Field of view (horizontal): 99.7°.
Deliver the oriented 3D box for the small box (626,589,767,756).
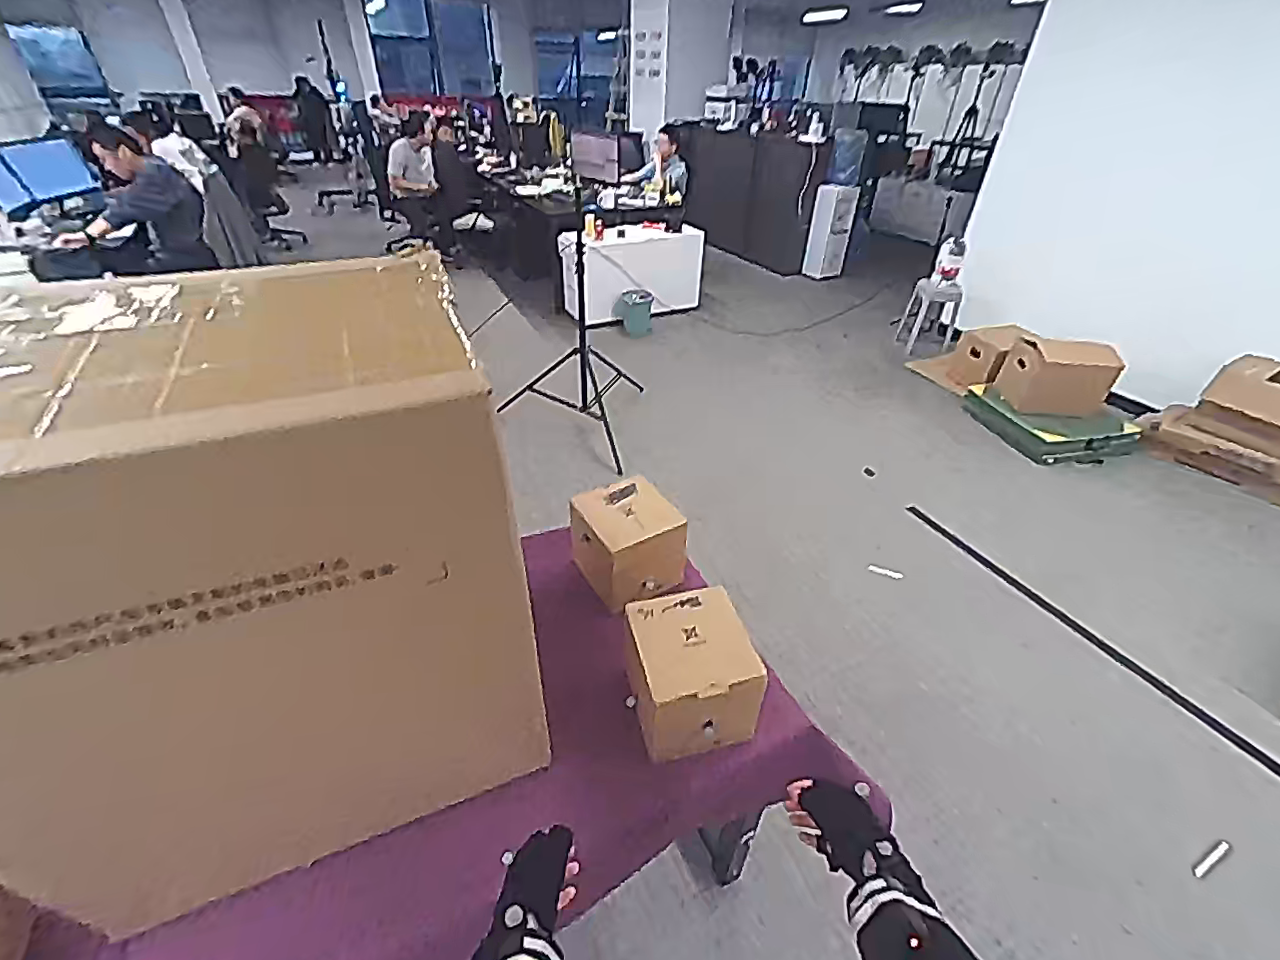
[{"bbox_3d":[0.077,0.301,0.838,0.168,0.176,0.179,-7,37,-12],"label":"small box"}]
